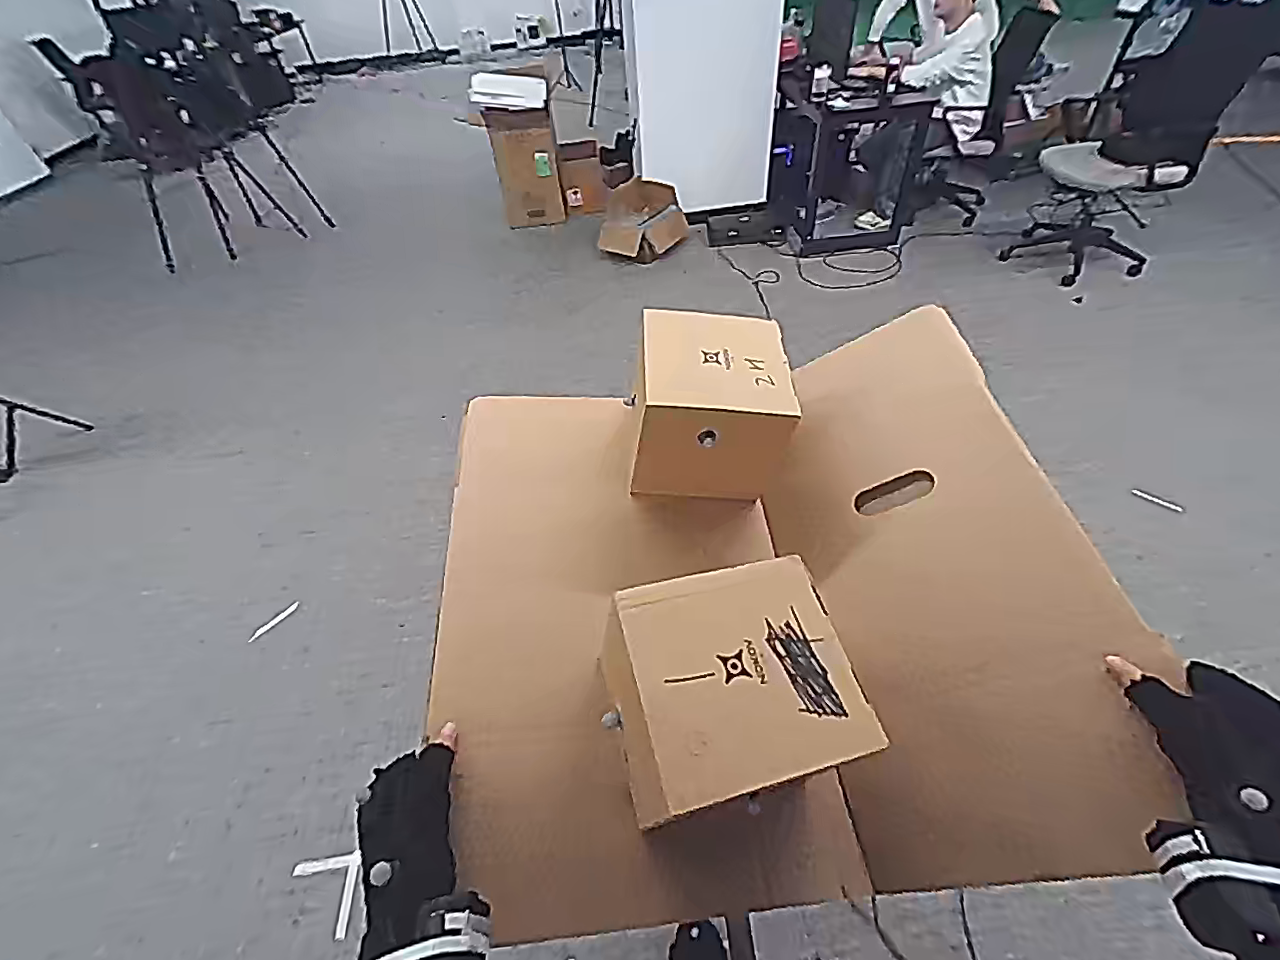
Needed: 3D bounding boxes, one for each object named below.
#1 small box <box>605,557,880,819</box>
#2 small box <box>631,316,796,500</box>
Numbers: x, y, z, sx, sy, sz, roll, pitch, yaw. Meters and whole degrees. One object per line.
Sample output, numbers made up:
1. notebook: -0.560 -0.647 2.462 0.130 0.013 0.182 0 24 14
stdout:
1. small box: 0.073 0.194 0.500 0.179 0.176 0.168 -9 56 -14
2. small box: 0.082 -0.088 0.707 0.179 0.176 0.168 4 54 -6
